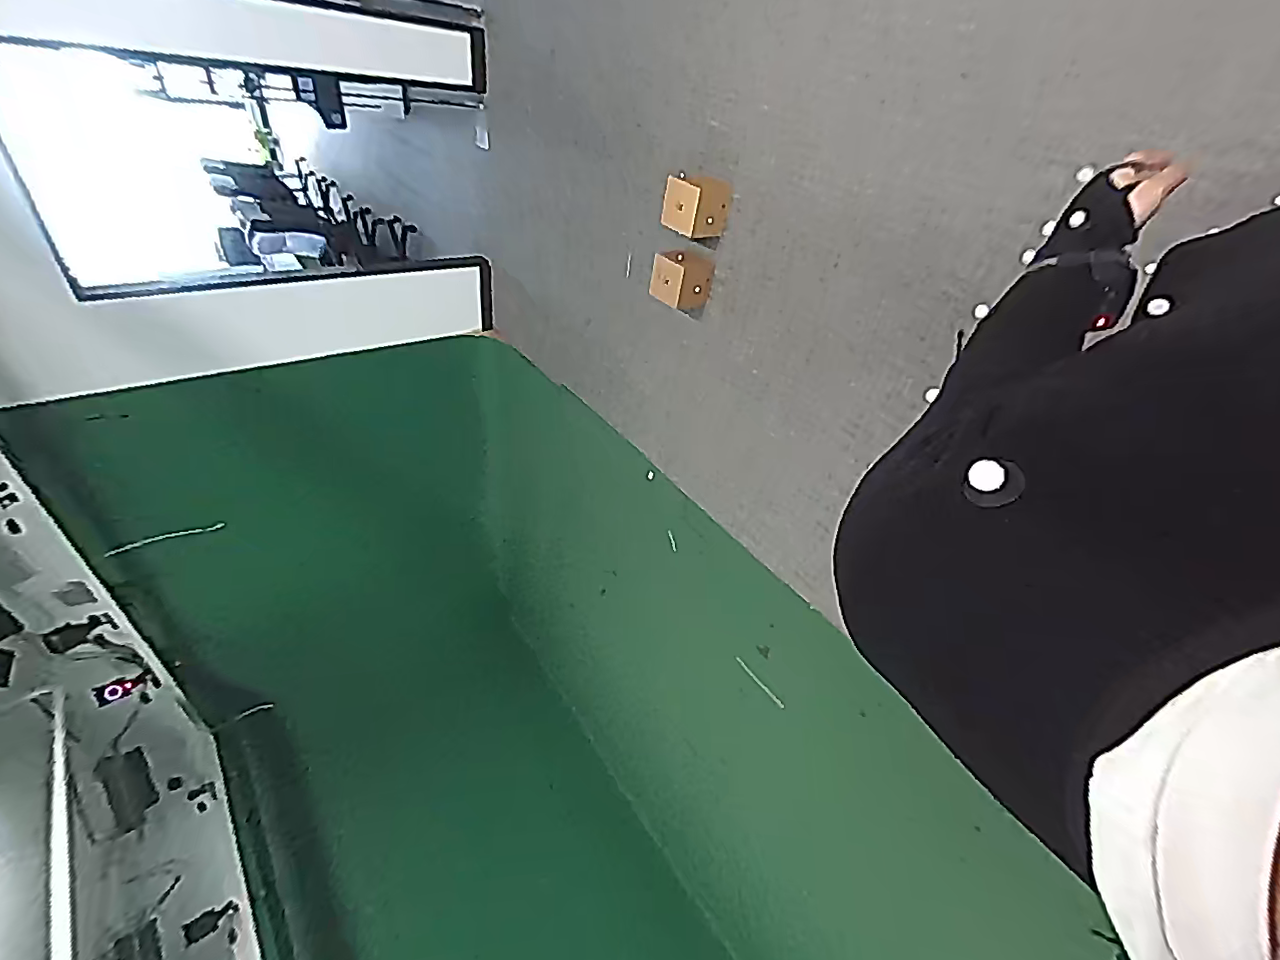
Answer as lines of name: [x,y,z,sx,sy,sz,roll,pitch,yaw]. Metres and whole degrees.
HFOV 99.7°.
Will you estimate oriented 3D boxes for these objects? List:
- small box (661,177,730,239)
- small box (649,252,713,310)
small box: [0.206,-1.007,1.991,0.179,0.176,0.168,43,139,33]
small box: [0.164,-0.799,2.155,0.179,0.176,0.168,43,138,33]
